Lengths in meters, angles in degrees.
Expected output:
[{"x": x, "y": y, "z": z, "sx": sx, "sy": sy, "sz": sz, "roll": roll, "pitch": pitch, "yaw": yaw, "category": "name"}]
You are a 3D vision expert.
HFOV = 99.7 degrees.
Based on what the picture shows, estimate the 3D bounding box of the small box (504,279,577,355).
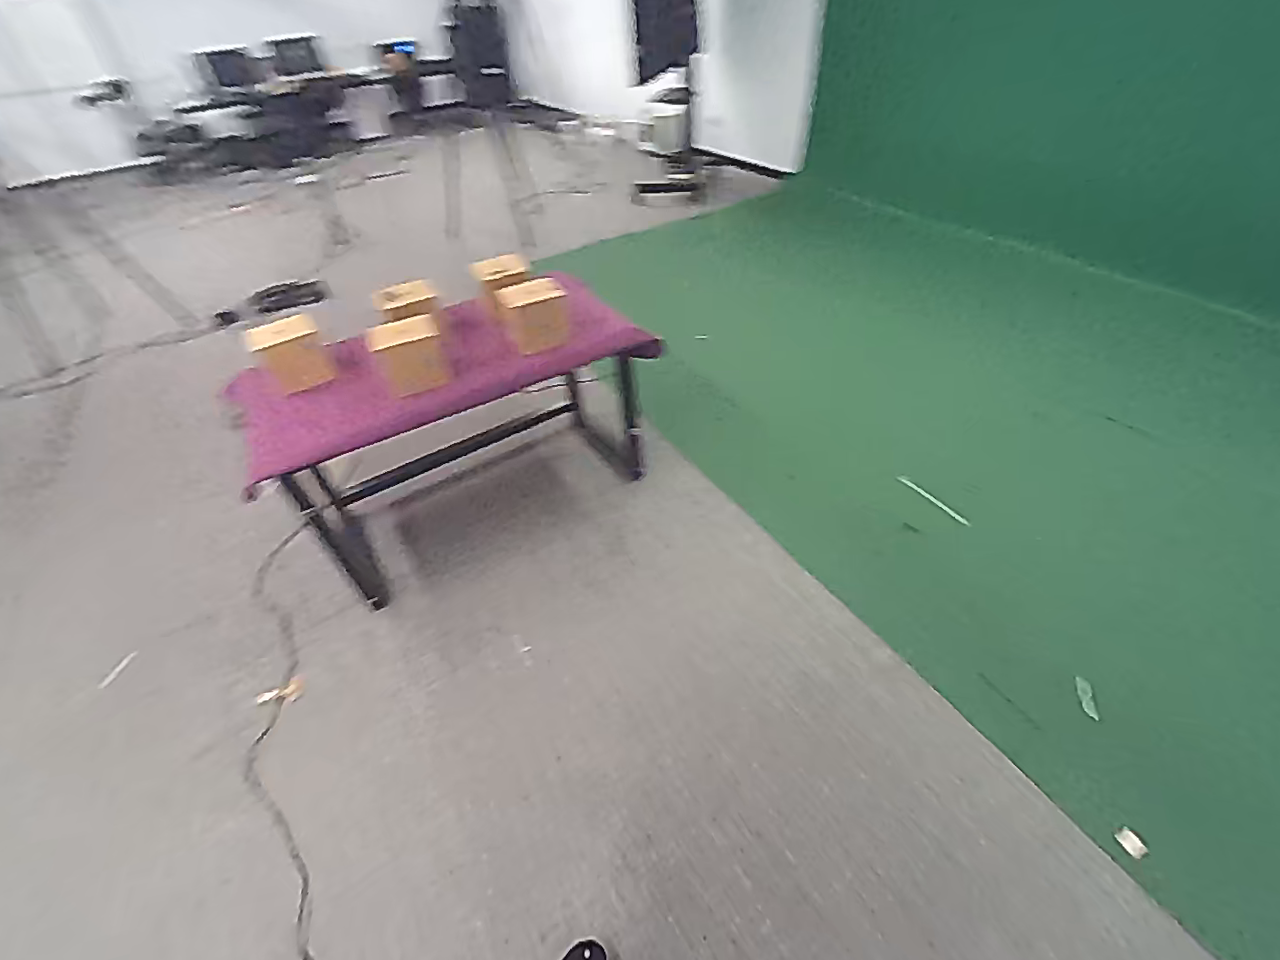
[{"x": -0.325, "y": -0.536, "z": 1.783, "sx": 0.179, "sy": 0.176, "sz": 0.168, "roll": -22, "pitch": 45, "yaw": -16, "category": "small box"}]

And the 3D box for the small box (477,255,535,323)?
[{"x": -0.470, "y": -0.686, "z": 1.956, "sx": 0.168, "sy": 0.176, "sz": 0.179, "roll": -21, "pitch": 45, "yaw": -16, "category": "small box"}]

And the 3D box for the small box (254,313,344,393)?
[{"x": -1.079, "y": -0.400, "z": 1.715, "sx": 0.179, "sy": 0.176, "sz": 0.168, "roll": -28, "pitch": 48, "yaw": -23, "category": "small box"}]

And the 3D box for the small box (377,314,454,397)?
[{"x": -0.682, "y": -0.380, "z": 1.656, "sx": 0.179, "sy": 0.176, "sz": 0.168, "roll": -20, "pitch": 44, "yaw": -14, "category": "small box"}]
